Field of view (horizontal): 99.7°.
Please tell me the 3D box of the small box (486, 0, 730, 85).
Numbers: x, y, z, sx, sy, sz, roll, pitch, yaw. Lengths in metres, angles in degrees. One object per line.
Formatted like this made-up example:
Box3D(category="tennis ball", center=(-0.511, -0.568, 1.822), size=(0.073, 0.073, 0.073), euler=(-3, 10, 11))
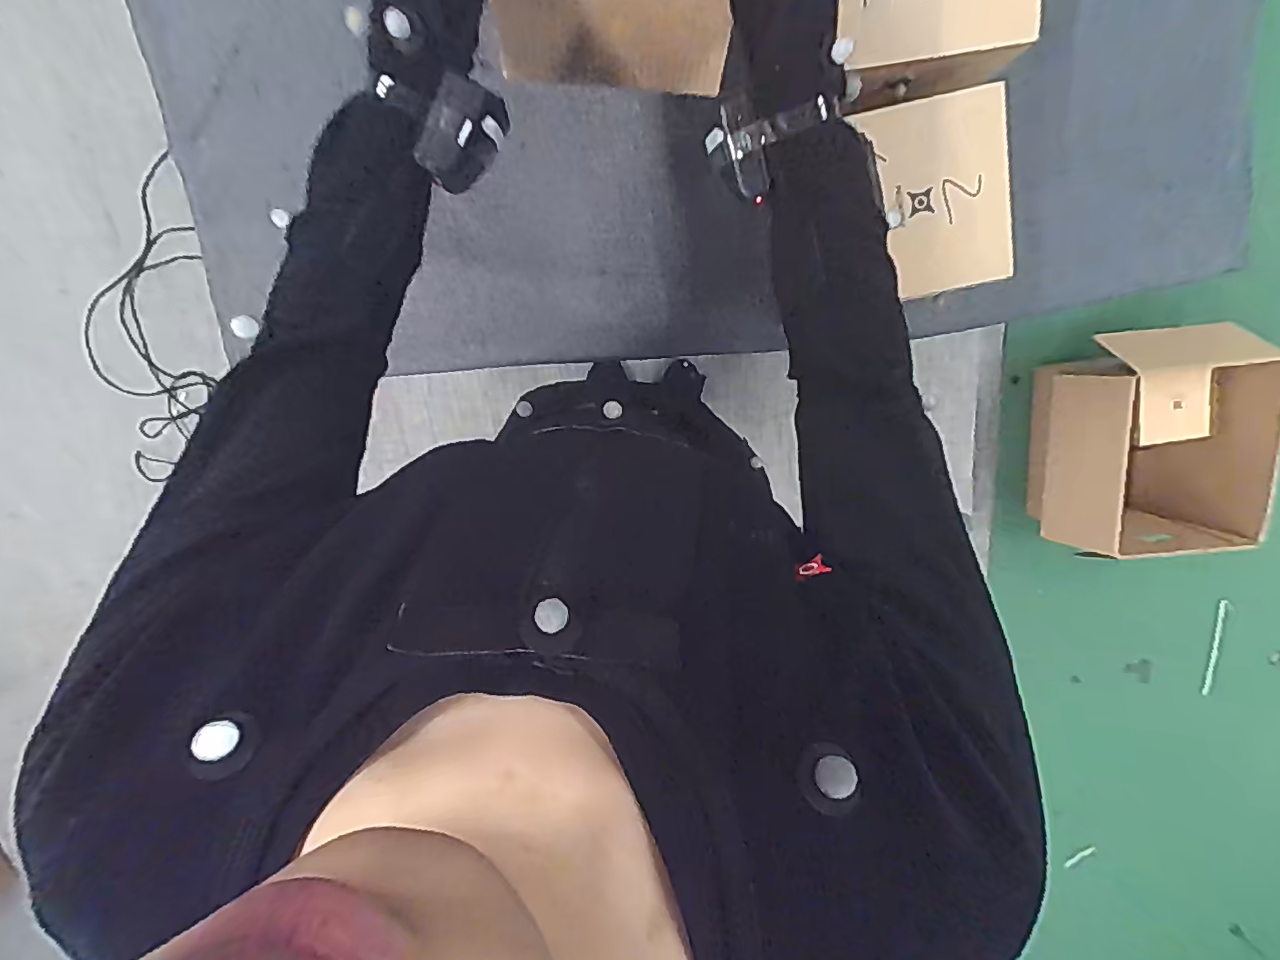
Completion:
Box3D(category="small box", center=(-0.017, -0.414, 0.371), size=(0.179, 0.176, 0.168), euler=(2, 74, -4))
